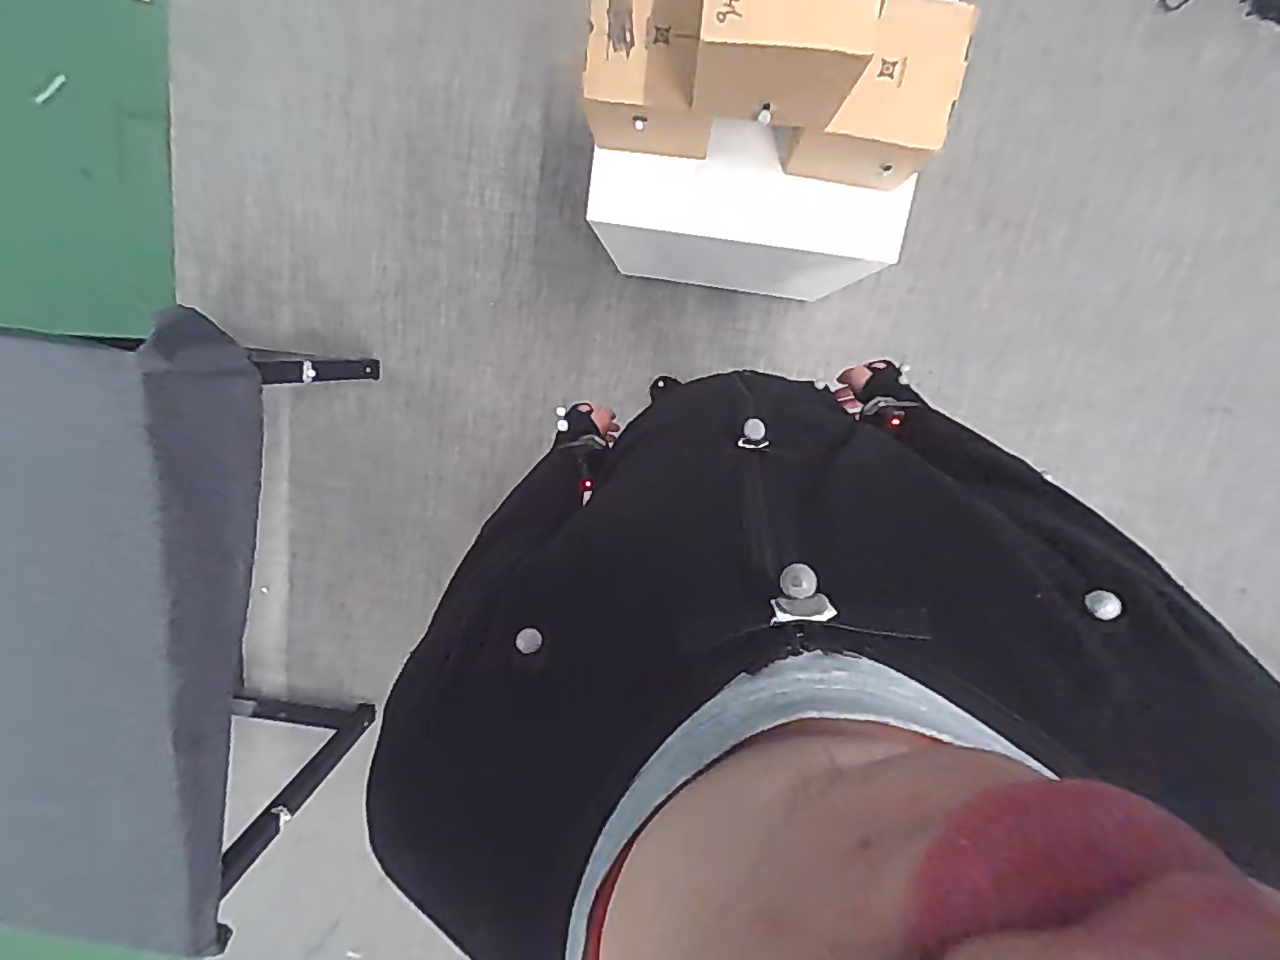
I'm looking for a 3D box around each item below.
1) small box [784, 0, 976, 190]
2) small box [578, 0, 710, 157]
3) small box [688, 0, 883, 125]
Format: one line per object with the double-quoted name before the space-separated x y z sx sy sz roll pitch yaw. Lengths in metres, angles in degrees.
"small box" 0.313 -0.520 0.745 0.179 0.176 0.168 11 102 4
"small box" 0.019 -0.573 0.752 0.179 0.176 0.168 7 103 1
"small box" 0.152 -0.515 0.590 0.179 0.176 0.168 7 102 1
